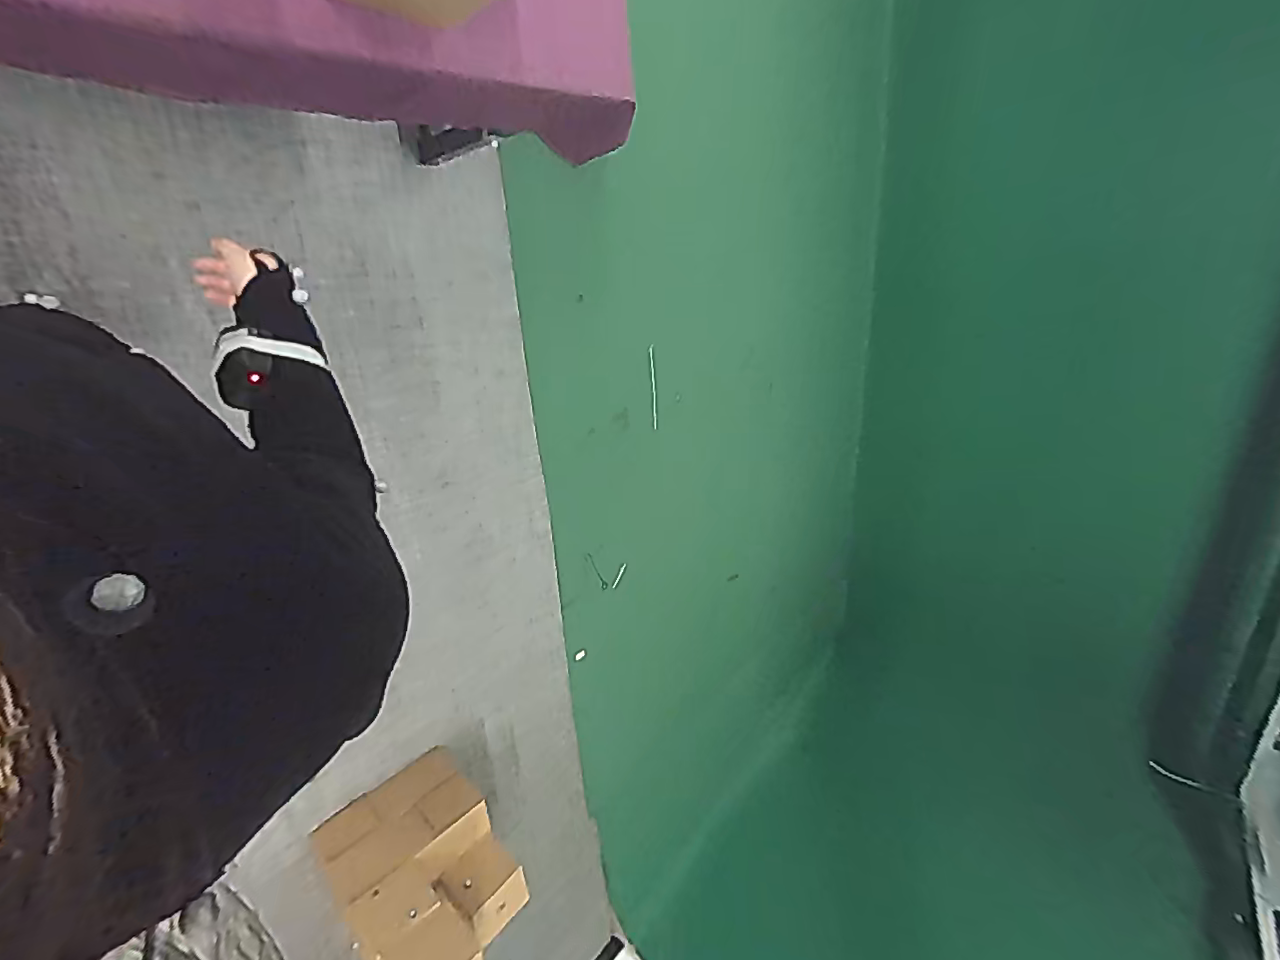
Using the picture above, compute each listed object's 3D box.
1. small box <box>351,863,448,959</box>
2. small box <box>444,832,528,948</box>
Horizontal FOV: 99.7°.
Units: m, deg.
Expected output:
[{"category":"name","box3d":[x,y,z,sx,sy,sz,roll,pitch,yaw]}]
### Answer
[{"category":"small box","box3d":[-0.621,1.151,1.397,0.168,0.176,0.179,-20,117,-45]},{"category":"small box","box3d":[-0.462,1.211,1.609,0.179,0.176,0.168,-27,123,-43]}]
